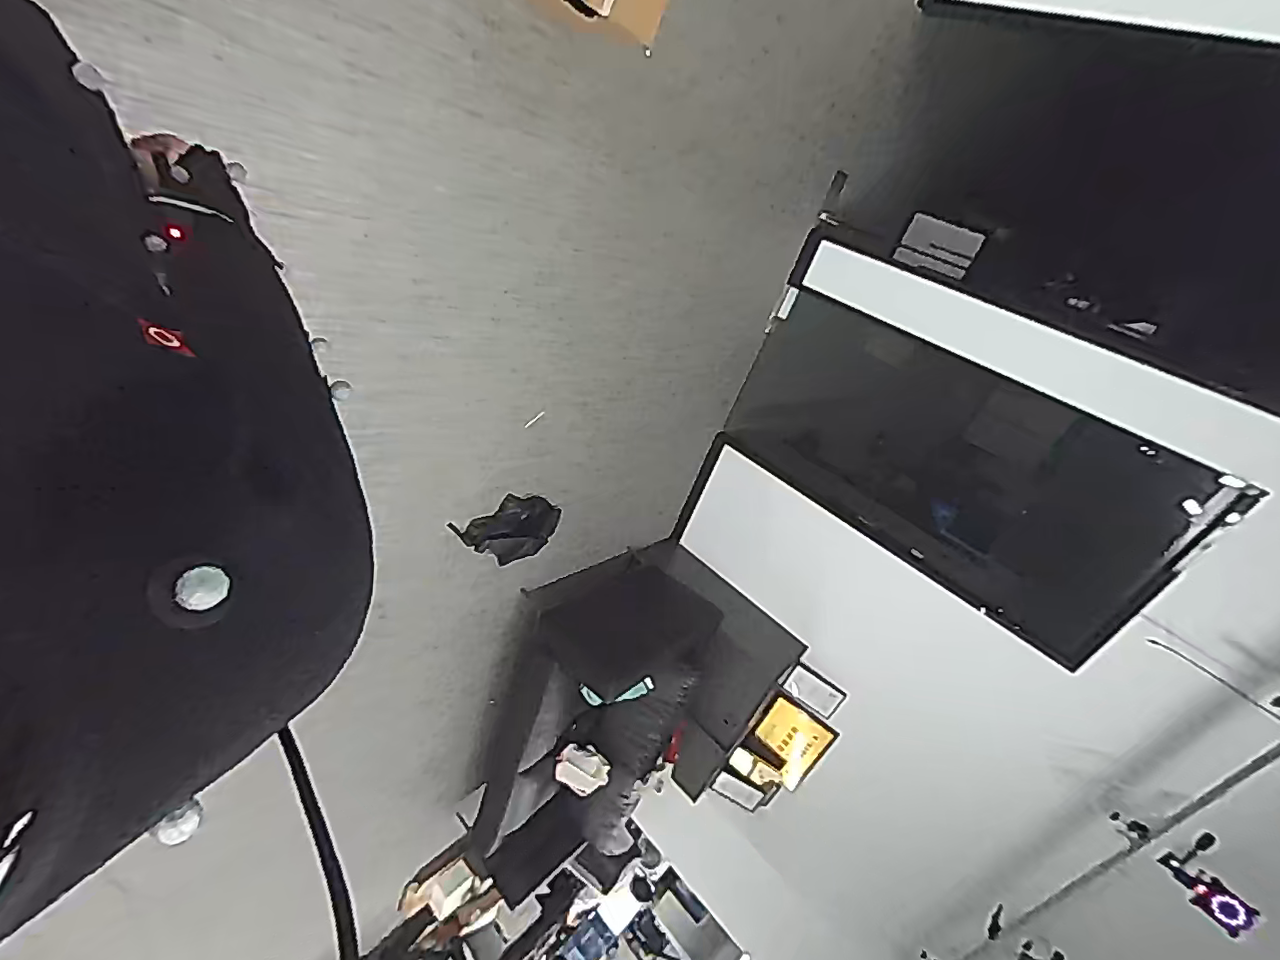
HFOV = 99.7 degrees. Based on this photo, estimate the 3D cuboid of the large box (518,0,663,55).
[{"bbox_3d":[-0.112,-1.168,1.061,0.320,0.320,0.408,-10,132,-51],"label":"large box"}]
